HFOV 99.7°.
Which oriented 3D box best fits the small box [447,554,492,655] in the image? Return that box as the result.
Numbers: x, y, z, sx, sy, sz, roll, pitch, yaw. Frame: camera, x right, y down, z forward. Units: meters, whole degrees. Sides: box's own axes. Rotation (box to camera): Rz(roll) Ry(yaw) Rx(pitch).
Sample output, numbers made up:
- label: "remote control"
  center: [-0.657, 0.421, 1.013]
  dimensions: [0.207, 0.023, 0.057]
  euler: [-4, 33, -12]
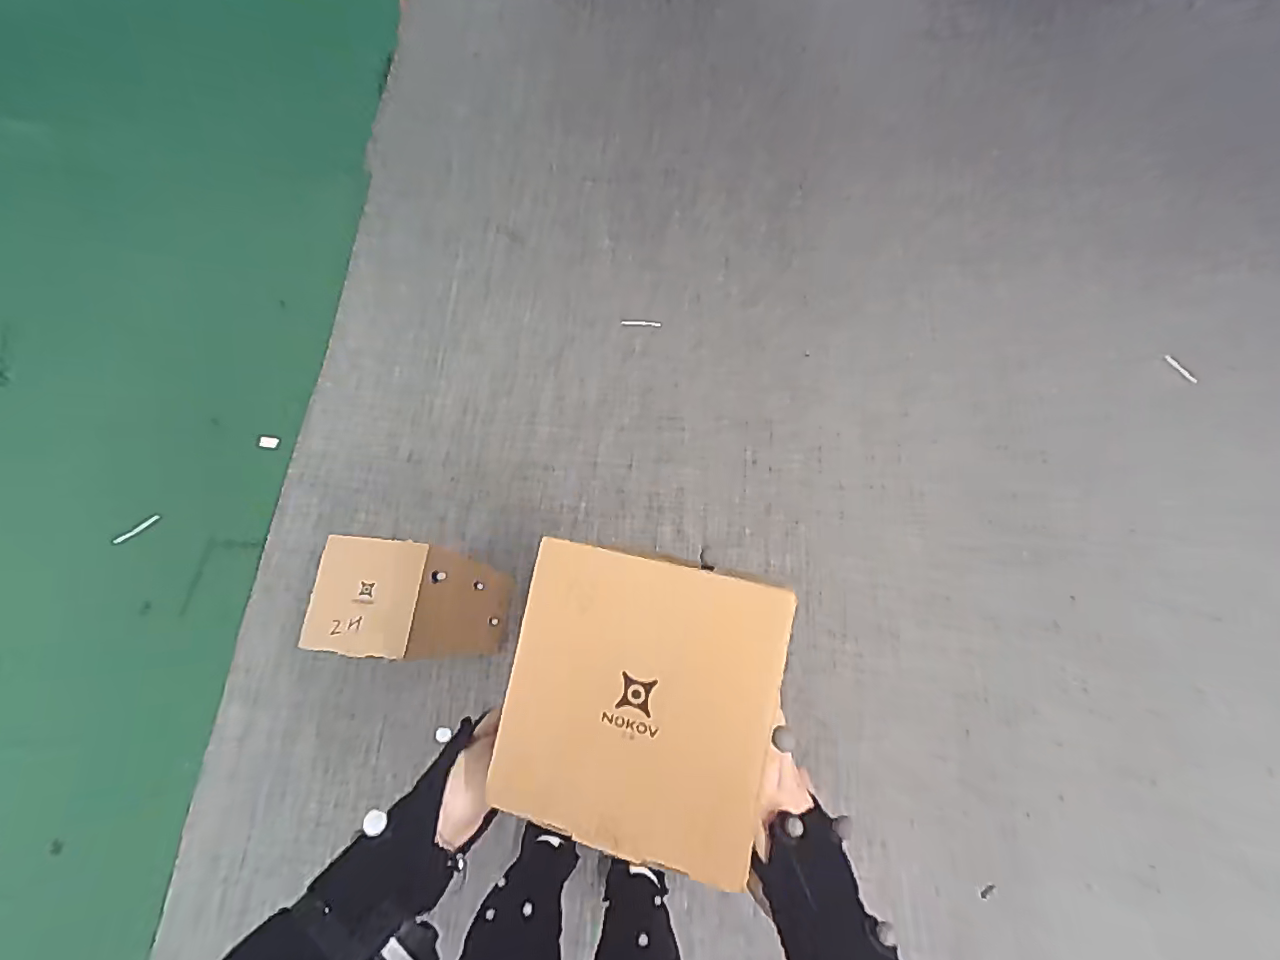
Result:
- label: "small box"
  center: [-0.398, 0.237, 1.045]
  dimensions: [0.168, 0.176, 0.179]
  euler: [4, 74, 5]

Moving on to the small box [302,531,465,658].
- label: "small box"
  center: [-0.403, 0.192, 0.886]
  dimensions: [0.168, 0.176, 0.179]
  euler: [4, 73, 5]

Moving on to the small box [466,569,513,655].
- label: "small box"
  center: [-0.394, 0.282, 1.201]
  dimensions: [0.168, 0.176, 0.179]
  euler: [8, 74, 5]

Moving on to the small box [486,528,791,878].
- label: "small box"
  center: [0.012, 0.140, 0.412]
  dimensions: [0.168, 0.176, 0.179]
  euler: [10, 85, 14]
